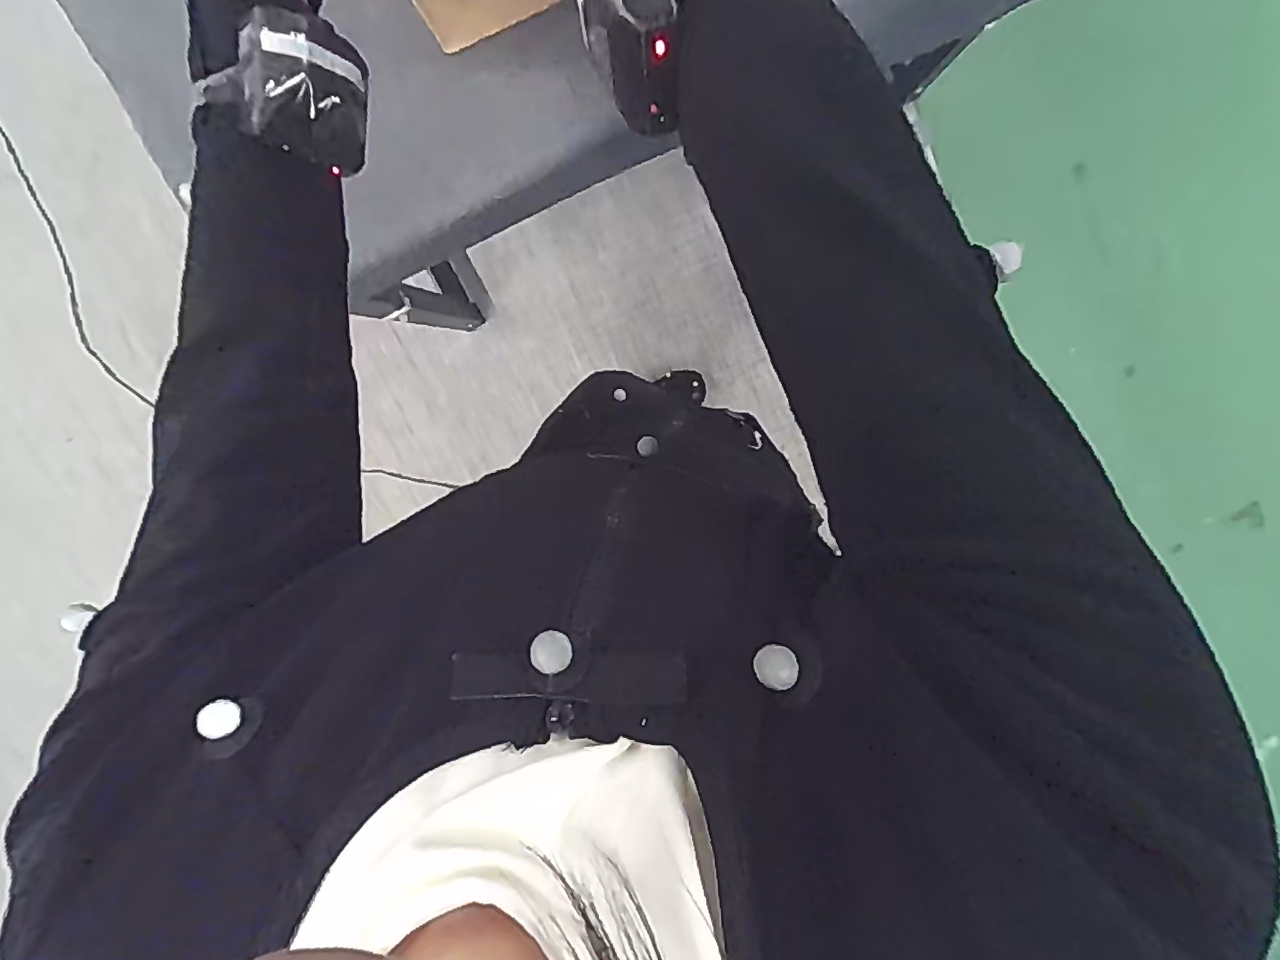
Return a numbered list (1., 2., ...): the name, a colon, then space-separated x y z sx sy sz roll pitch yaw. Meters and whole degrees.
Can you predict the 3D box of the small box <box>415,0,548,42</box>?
1. small box: -0.164 -0.553 0.487 0.179 0.176 0.168 -20 101 8
